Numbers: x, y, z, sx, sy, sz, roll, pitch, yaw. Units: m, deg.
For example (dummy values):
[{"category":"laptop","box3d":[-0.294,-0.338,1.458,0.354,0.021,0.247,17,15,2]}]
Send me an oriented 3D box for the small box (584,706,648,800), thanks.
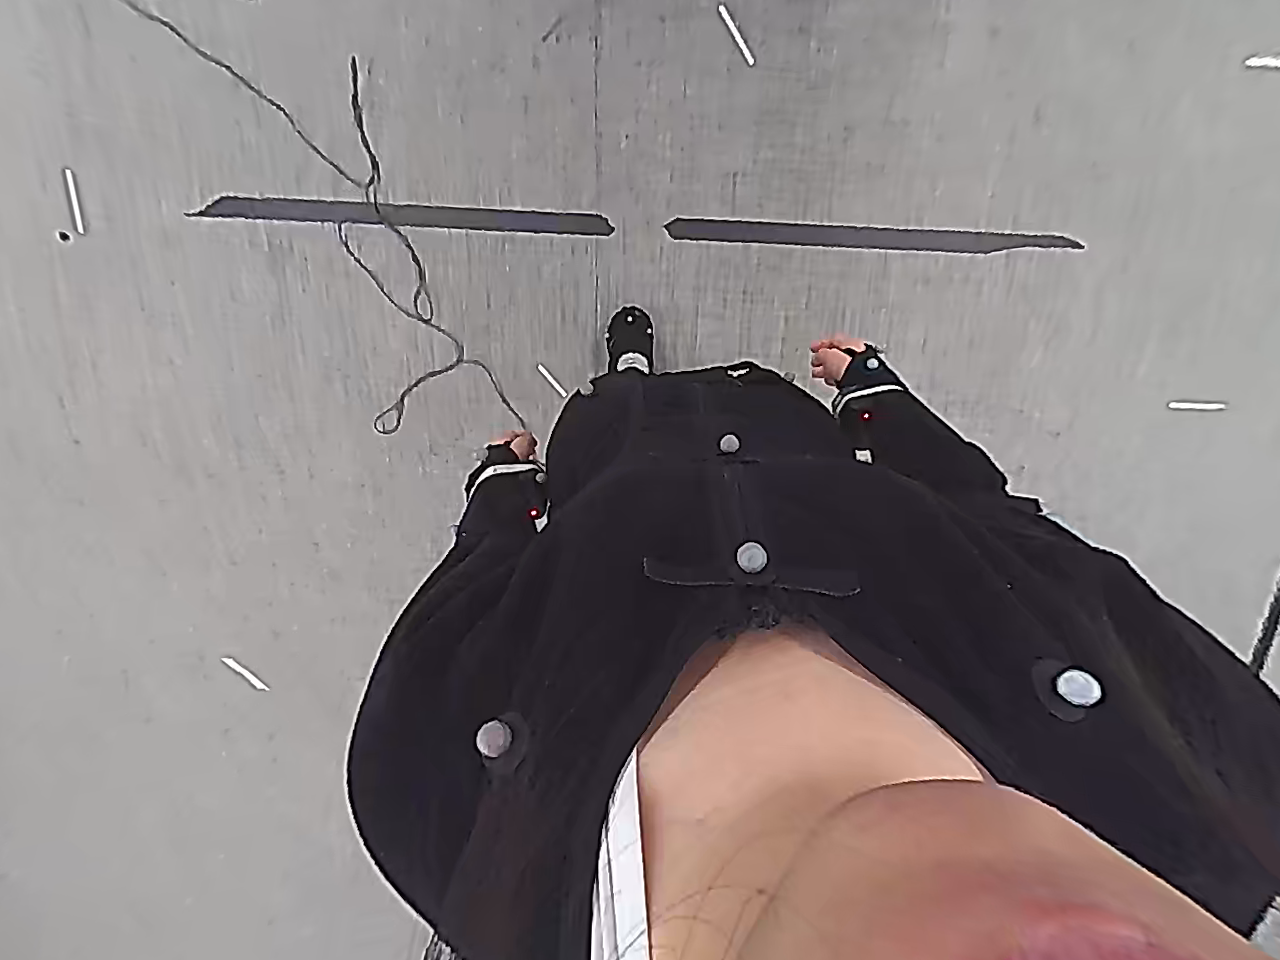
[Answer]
[{"category":"small box","box3d":[-0.067,0.805,1.602,0.168,0.176,0.179,-8,105,0]}]
